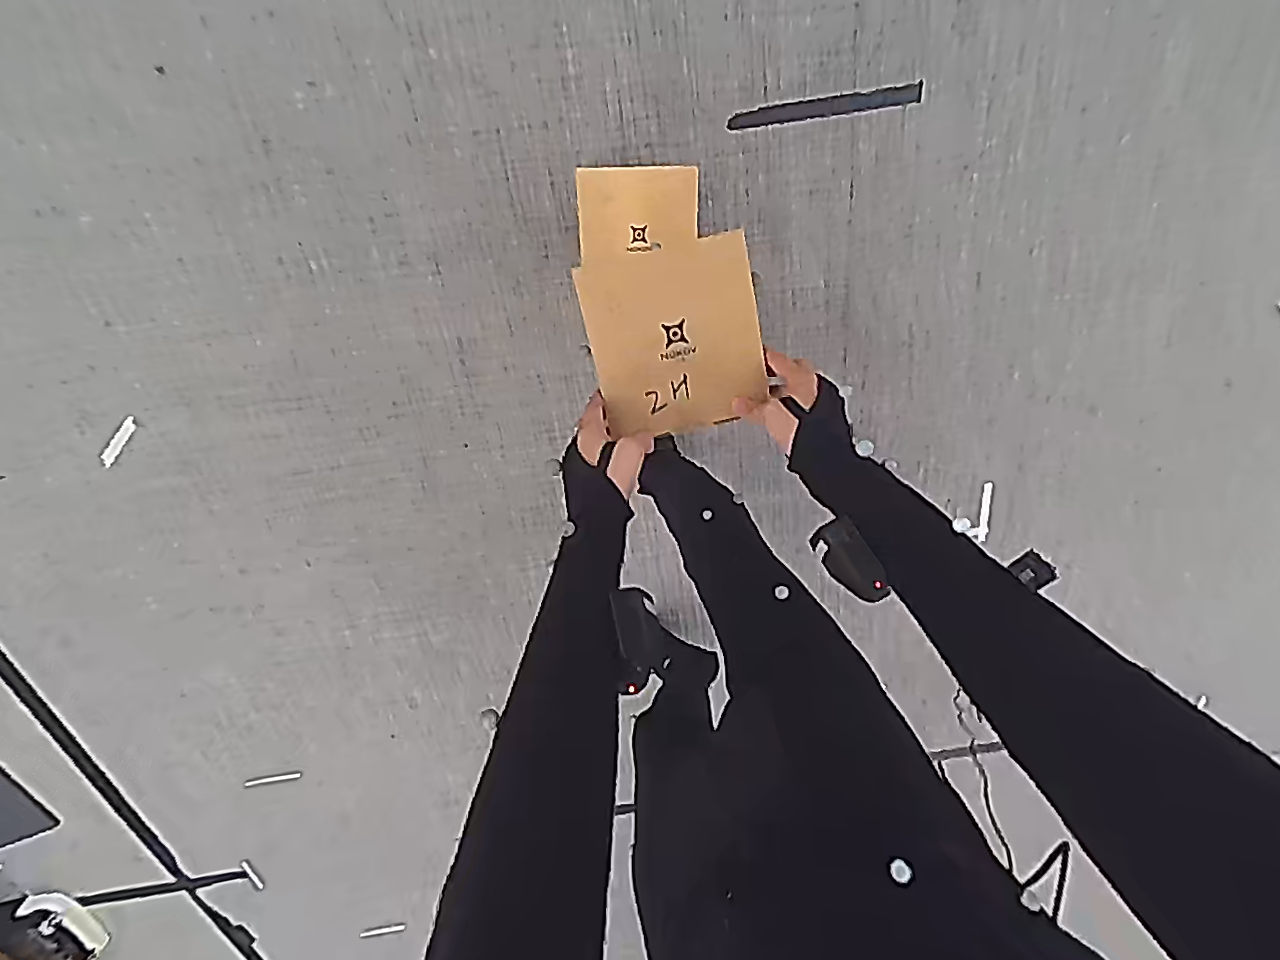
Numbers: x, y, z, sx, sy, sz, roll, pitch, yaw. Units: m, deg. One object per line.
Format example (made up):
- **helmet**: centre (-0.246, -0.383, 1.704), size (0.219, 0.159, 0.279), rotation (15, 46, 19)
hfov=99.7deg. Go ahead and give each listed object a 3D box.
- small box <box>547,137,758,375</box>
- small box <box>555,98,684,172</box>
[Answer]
- **small box**: centre (0.011, -0.216, 0.559), size (0.168, 0.176, 0.179), rotation (-12, 106, 2)
- **small box**: centre (-0.033, -0.425, 0.773), size (0.168, 0.176, 0.179), rotation (-4, 117, -4)
